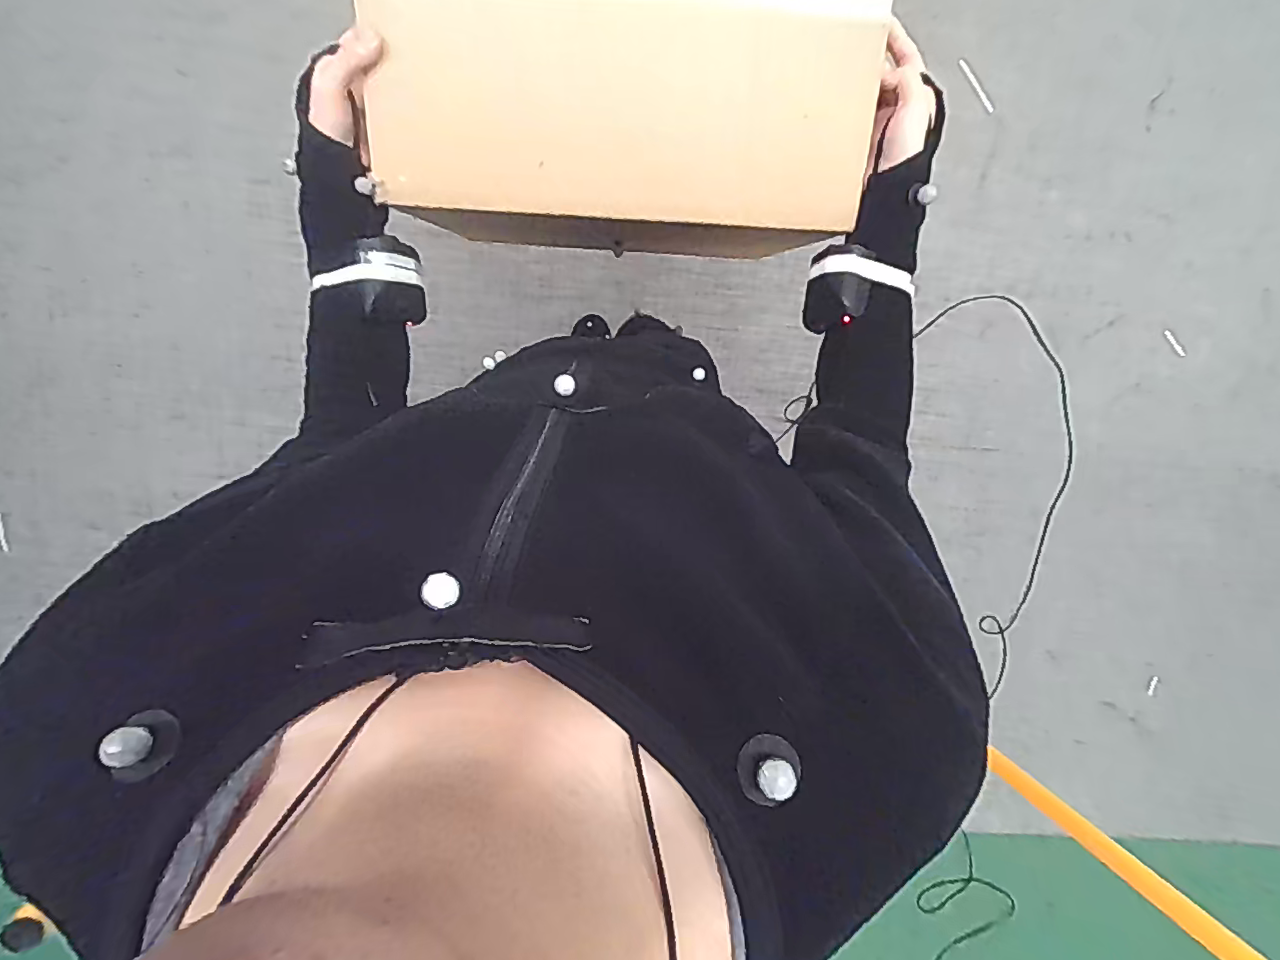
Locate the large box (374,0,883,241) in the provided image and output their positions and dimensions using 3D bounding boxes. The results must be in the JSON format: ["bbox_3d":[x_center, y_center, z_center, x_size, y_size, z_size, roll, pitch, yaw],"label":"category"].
[{"bbox_3d":[-0.010,-0.429,0.558,0.408,0.320,0.320,2,108,-3],"label":"large box"}]
